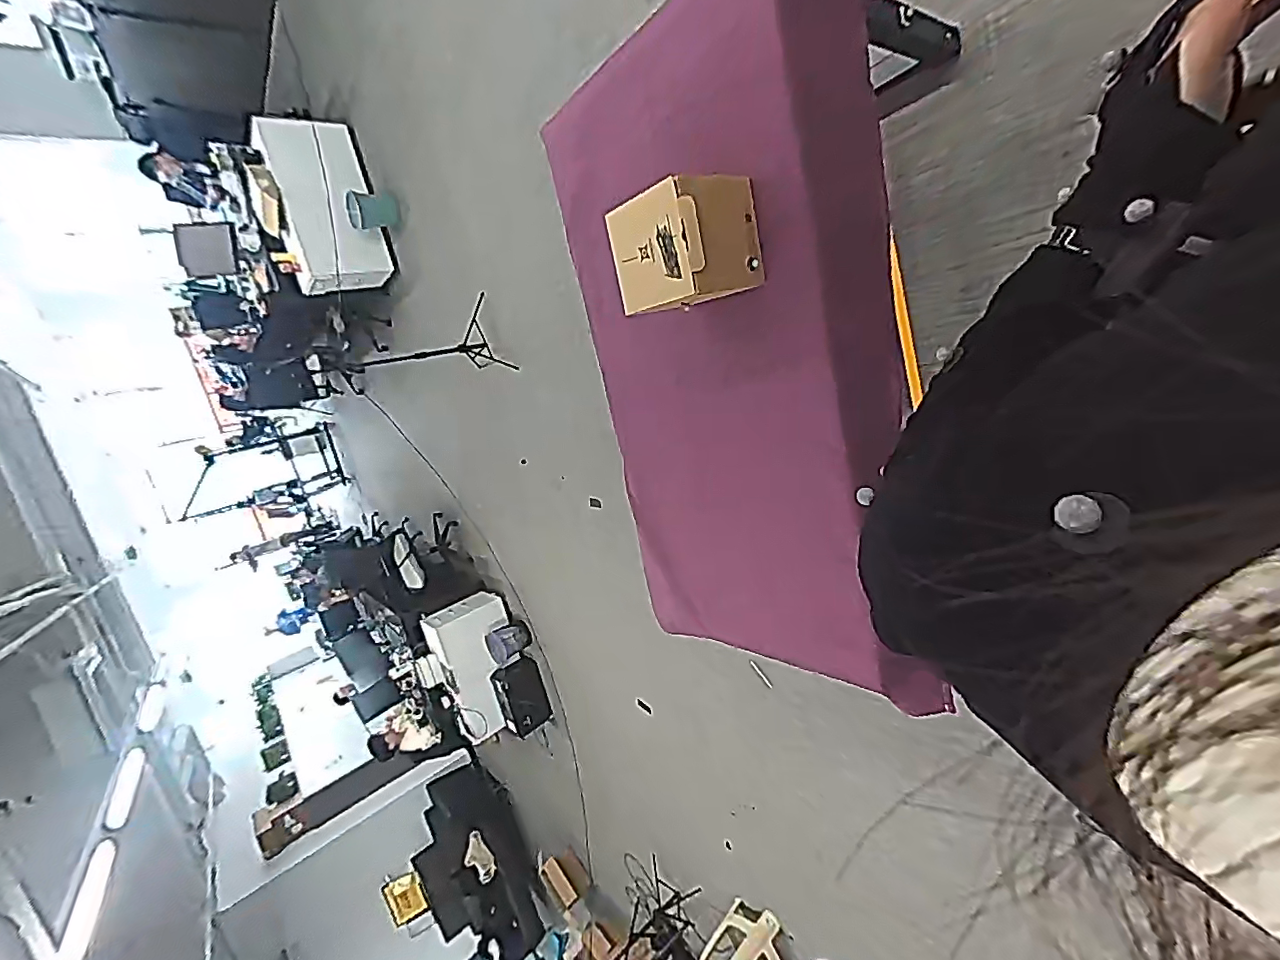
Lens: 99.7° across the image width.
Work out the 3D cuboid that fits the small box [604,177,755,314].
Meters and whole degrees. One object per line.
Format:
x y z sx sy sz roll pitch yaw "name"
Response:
0.071 -0.381 0.887 0.179 0.176 0.168 5 112 52 "small box"
